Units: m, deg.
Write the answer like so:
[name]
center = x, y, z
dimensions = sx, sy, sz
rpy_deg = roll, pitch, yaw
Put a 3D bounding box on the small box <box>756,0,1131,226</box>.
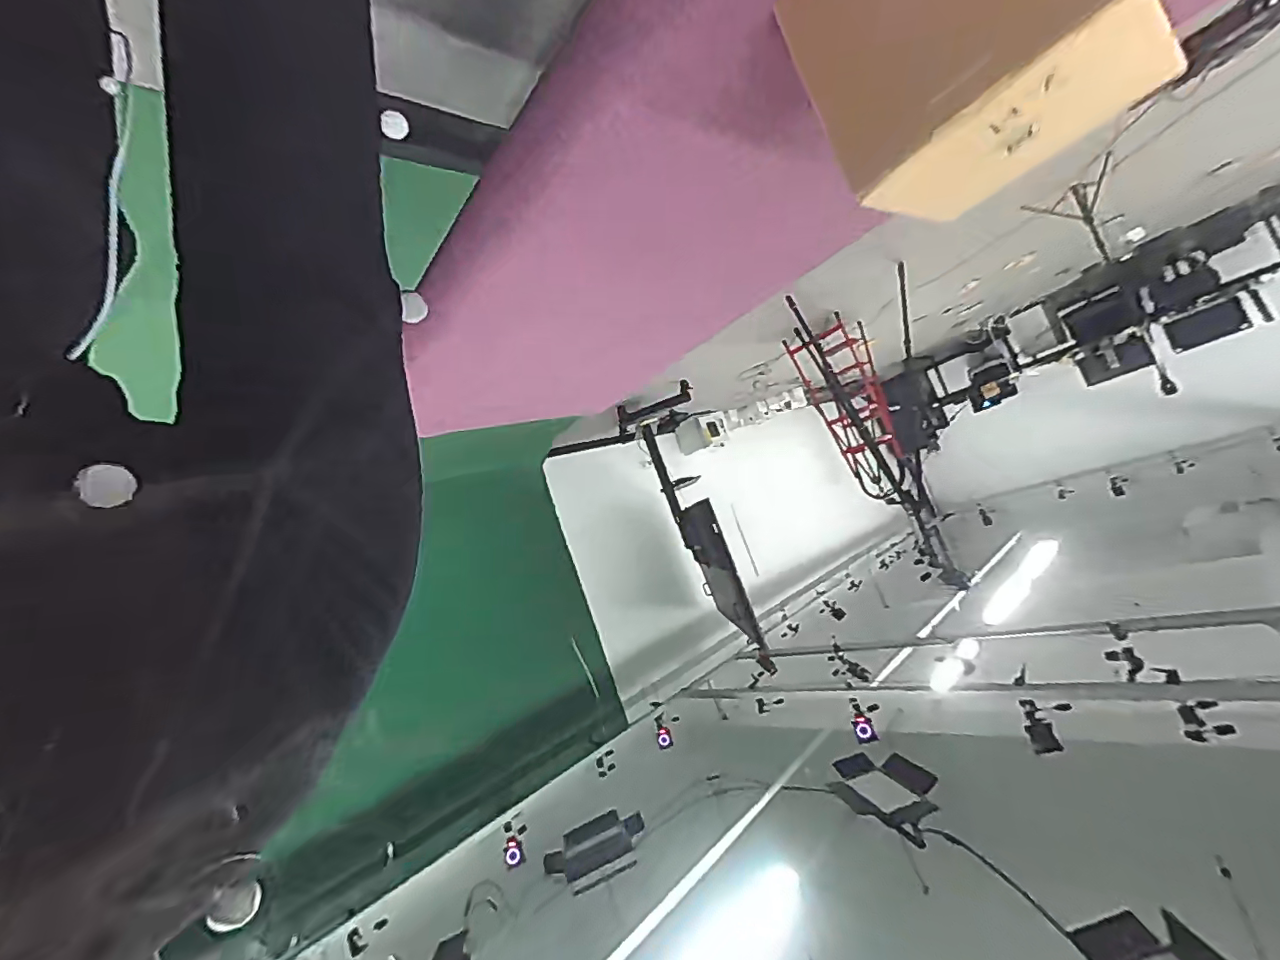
[small box]
center = 0.220, -0.321, 0.404
dimensions = 0.179, 0.176, 0.168
rpy_deg = -17, 174, -40
